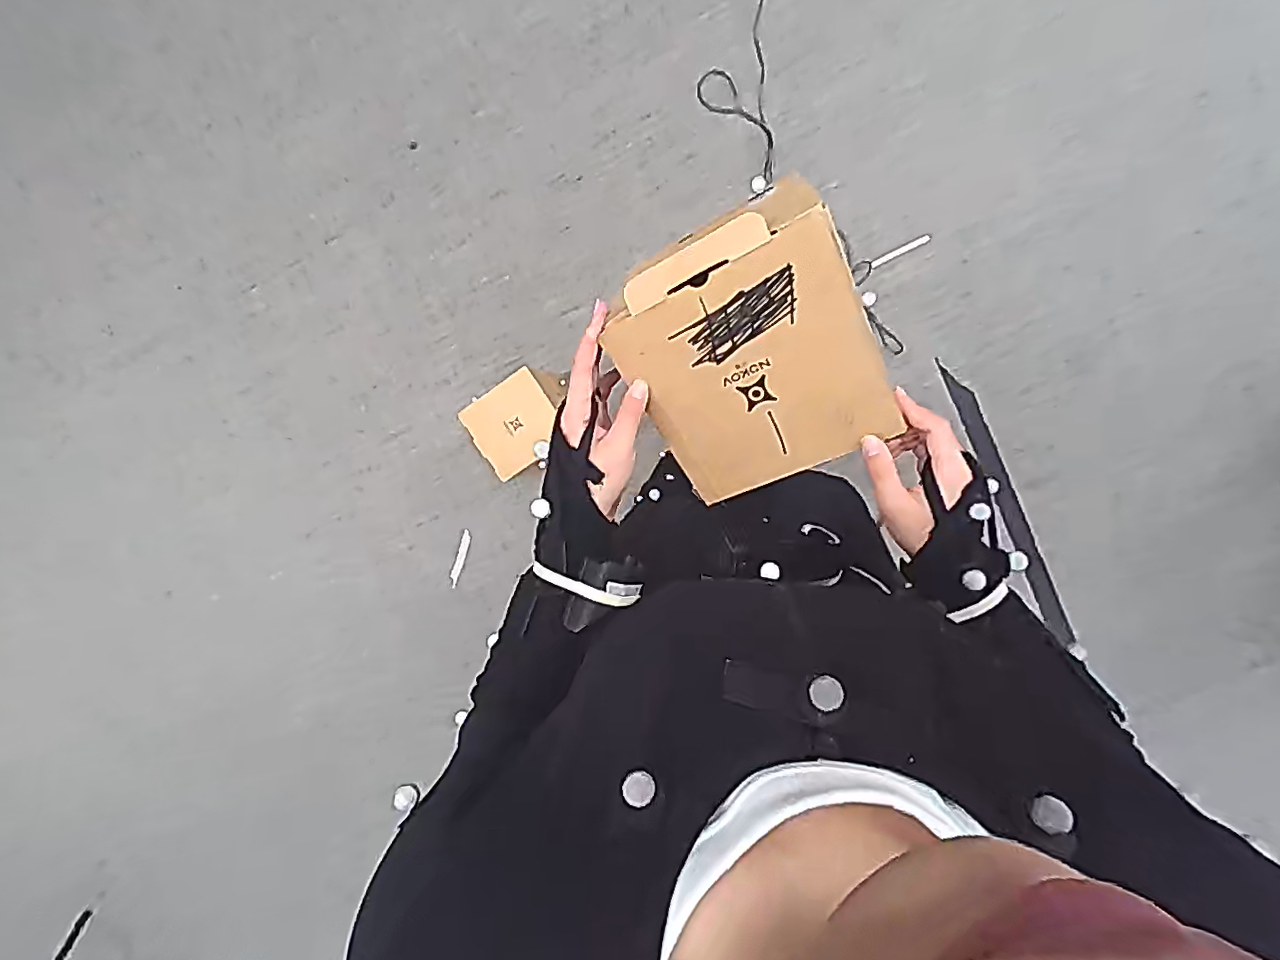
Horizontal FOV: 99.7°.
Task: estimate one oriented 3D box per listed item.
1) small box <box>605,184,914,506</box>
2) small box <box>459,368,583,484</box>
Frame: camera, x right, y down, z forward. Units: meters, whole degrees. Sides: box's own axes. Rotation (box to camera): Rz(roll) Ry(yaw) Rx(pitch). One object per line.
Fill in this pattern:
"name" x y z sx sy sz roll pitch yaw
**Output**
"small box" 0.096 -0.115 0.442 0.168 0.176 0.179 -21 120 24
"small box" -0.234 -0.115 1.130 0.179 0.176 0.168 -33 93 9
